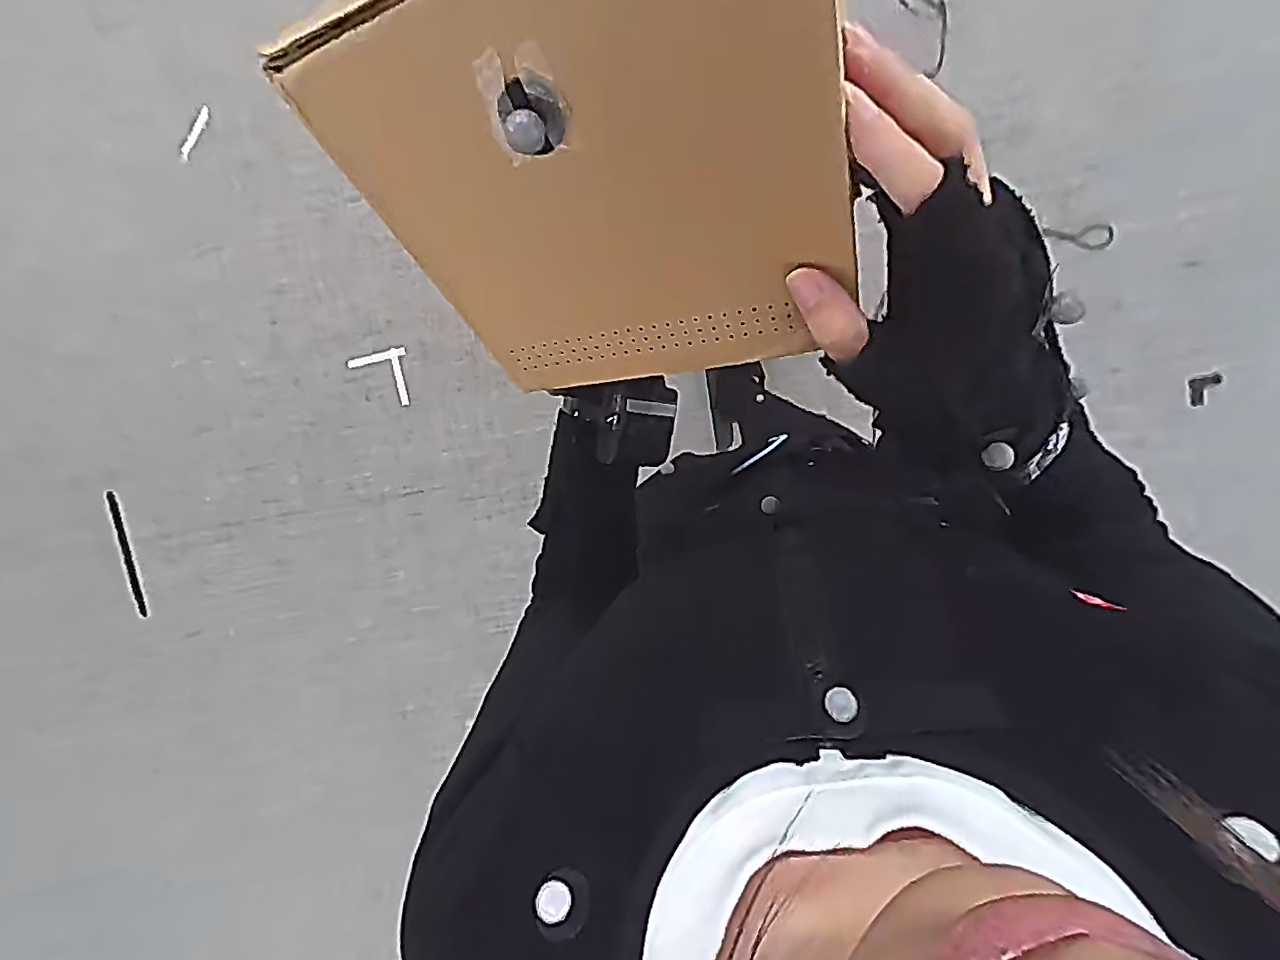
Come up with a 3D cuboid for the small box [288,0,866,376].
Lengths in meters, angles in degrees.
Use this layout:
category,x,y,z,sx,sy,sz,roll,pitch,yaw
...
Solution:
category,x,y,z,sx,sy,sz,roll,pitch,yaw
small box,0.003,-0.165,0.247,0.179,0.176,0.168,-3,59,24
